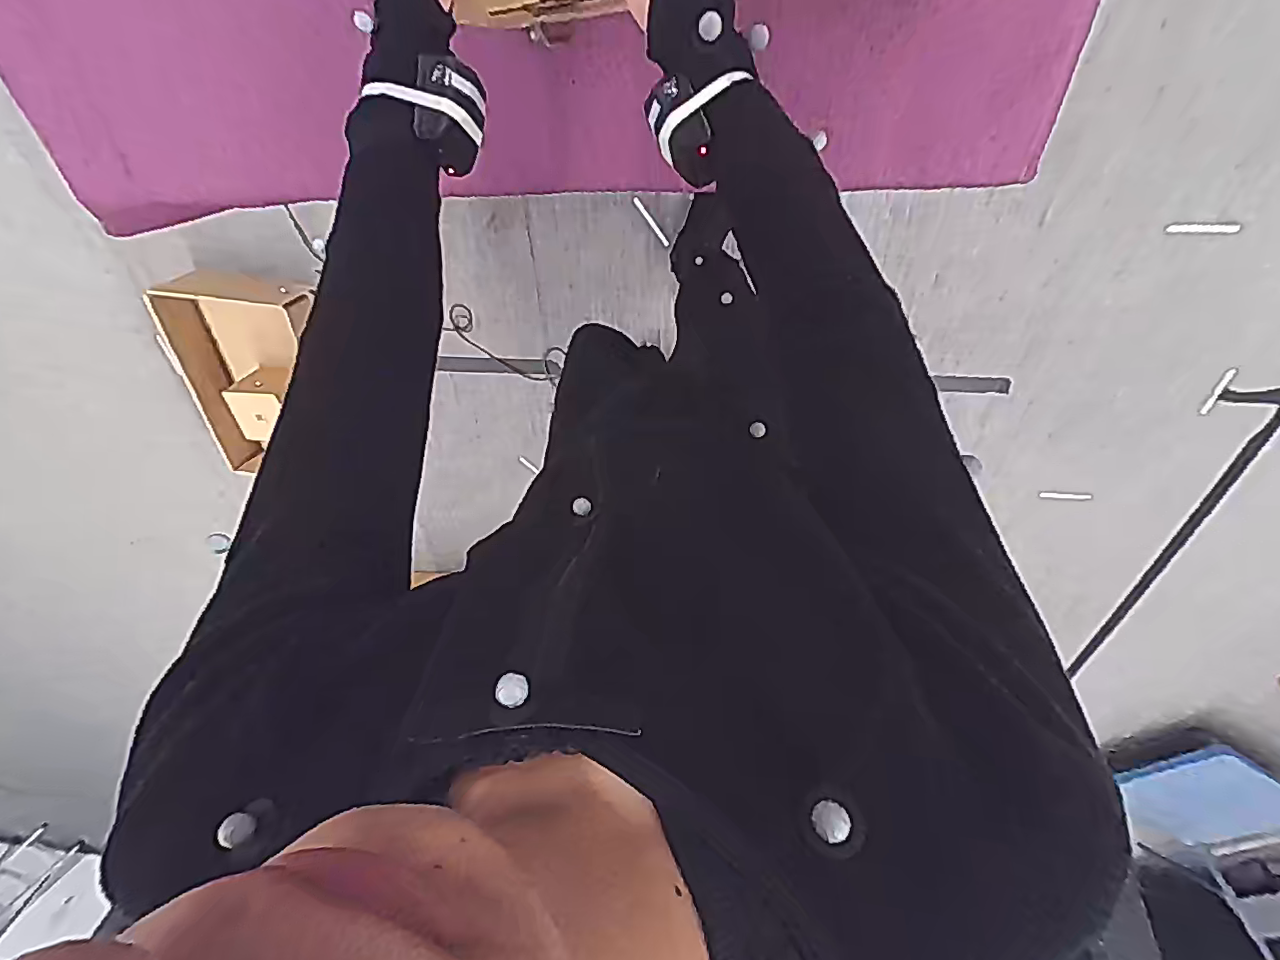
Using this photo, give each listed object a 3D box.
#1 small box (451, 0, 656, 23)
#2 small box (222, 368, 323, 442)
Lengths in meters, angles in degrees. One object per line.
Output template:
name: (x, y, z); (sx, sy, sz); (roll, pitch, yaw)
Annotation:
small box: (-0.073, -0.500, 0.447); (0.168, 0.176, 0.179); (-2, 127, 9)
small box: (-1.116, -0.234, 1.666); (0.179, 0.176, 0.168); (3, 127, 5)
